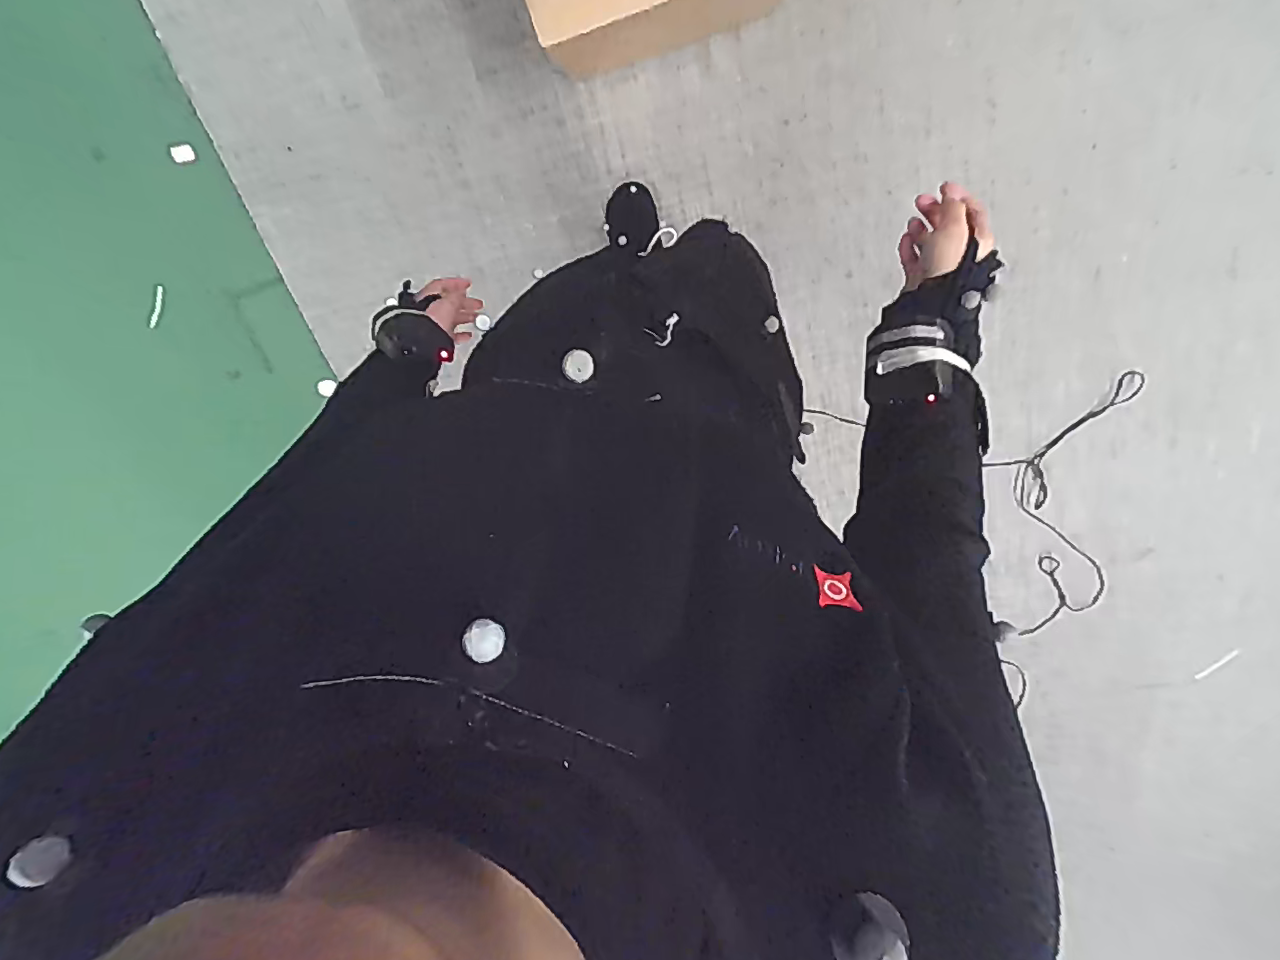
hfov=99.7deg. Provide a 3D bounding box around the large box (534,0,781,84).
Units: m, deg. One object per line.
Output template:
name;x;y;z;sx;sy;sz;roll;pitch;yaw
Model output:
large box;0.016;-0.870;0.817;0.408;0.320;0.320;-14;118;9
